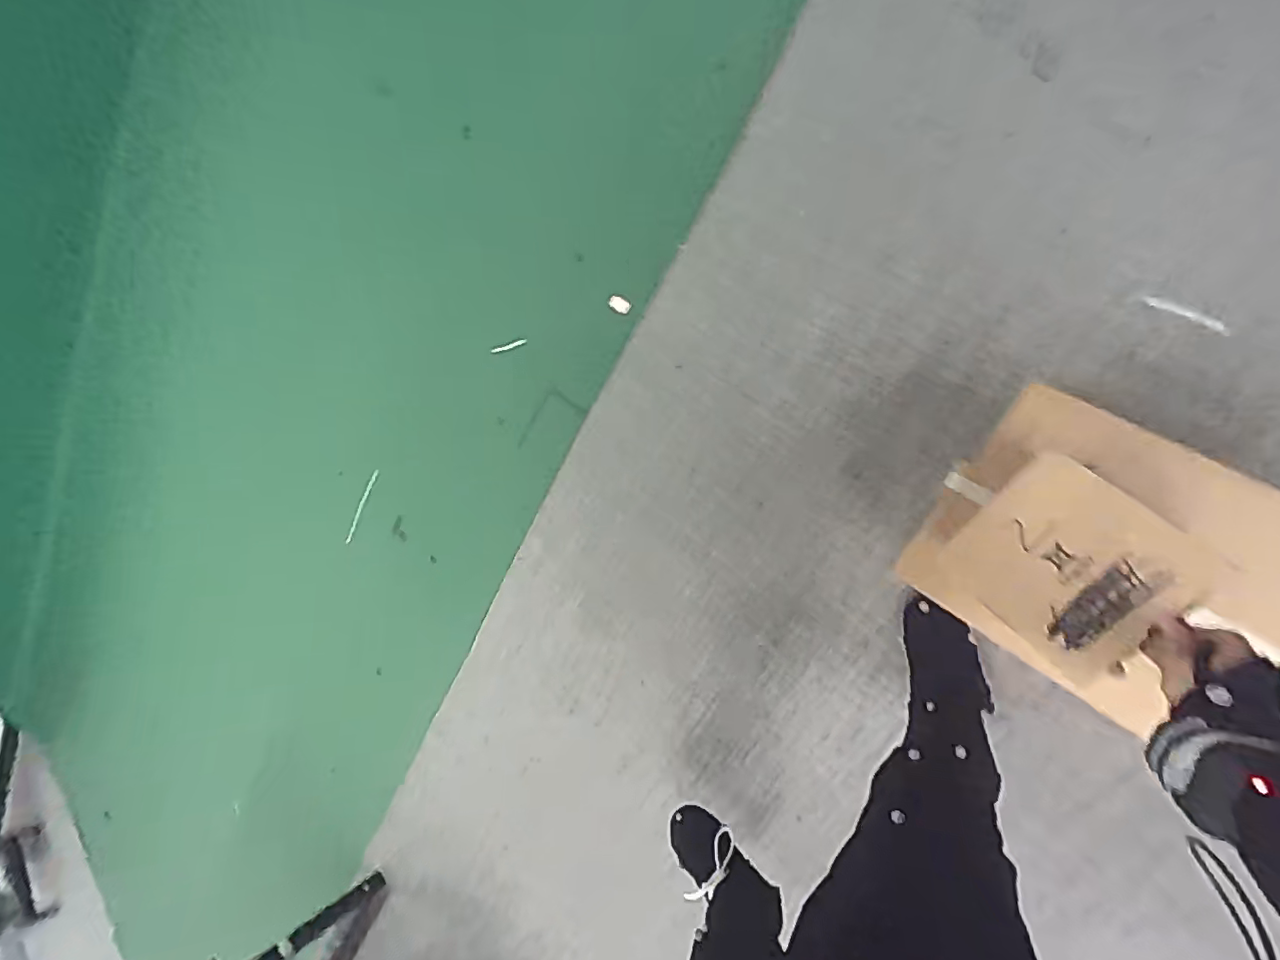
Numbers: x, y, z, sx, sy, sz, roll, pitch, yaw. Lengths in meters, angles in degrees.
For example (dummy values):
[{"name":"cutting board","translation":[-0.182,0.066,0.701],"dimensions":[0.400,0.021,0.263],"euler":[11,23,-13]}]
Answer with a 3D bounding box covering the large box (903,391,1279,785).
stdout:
[{"name":"large box","translation":[0.657,0.113,0.780],"dimensions":[0.408,0.320,0.320],"euler":[36,108,23]}]
